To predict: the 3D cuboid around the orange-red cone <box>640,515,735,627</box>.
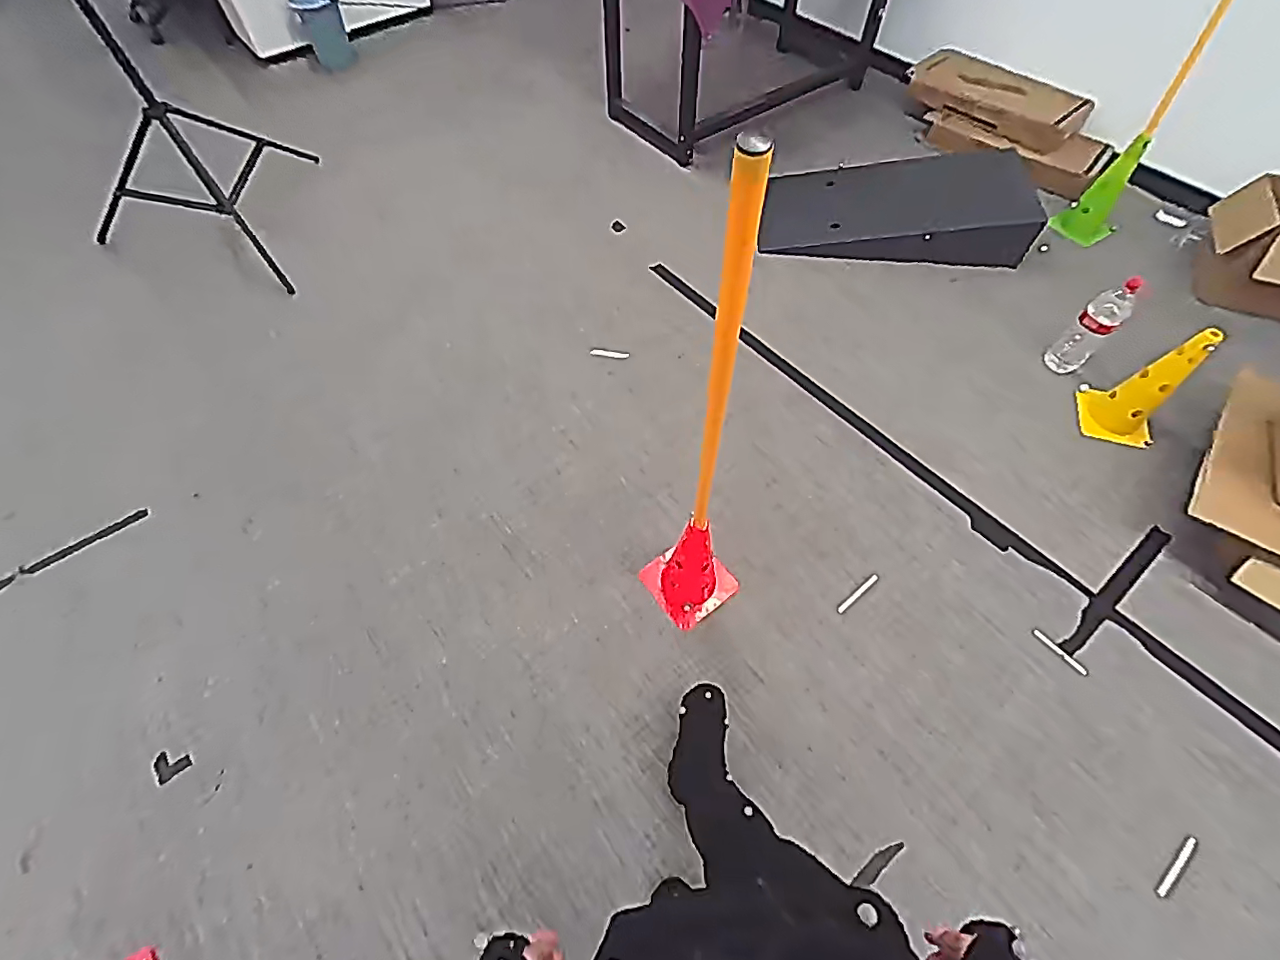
[{"bbox_3d":[0.124,0.175,1.271,0.199,0.360,0.198,-32,65,-18],"label":"orange-red cone"}]
